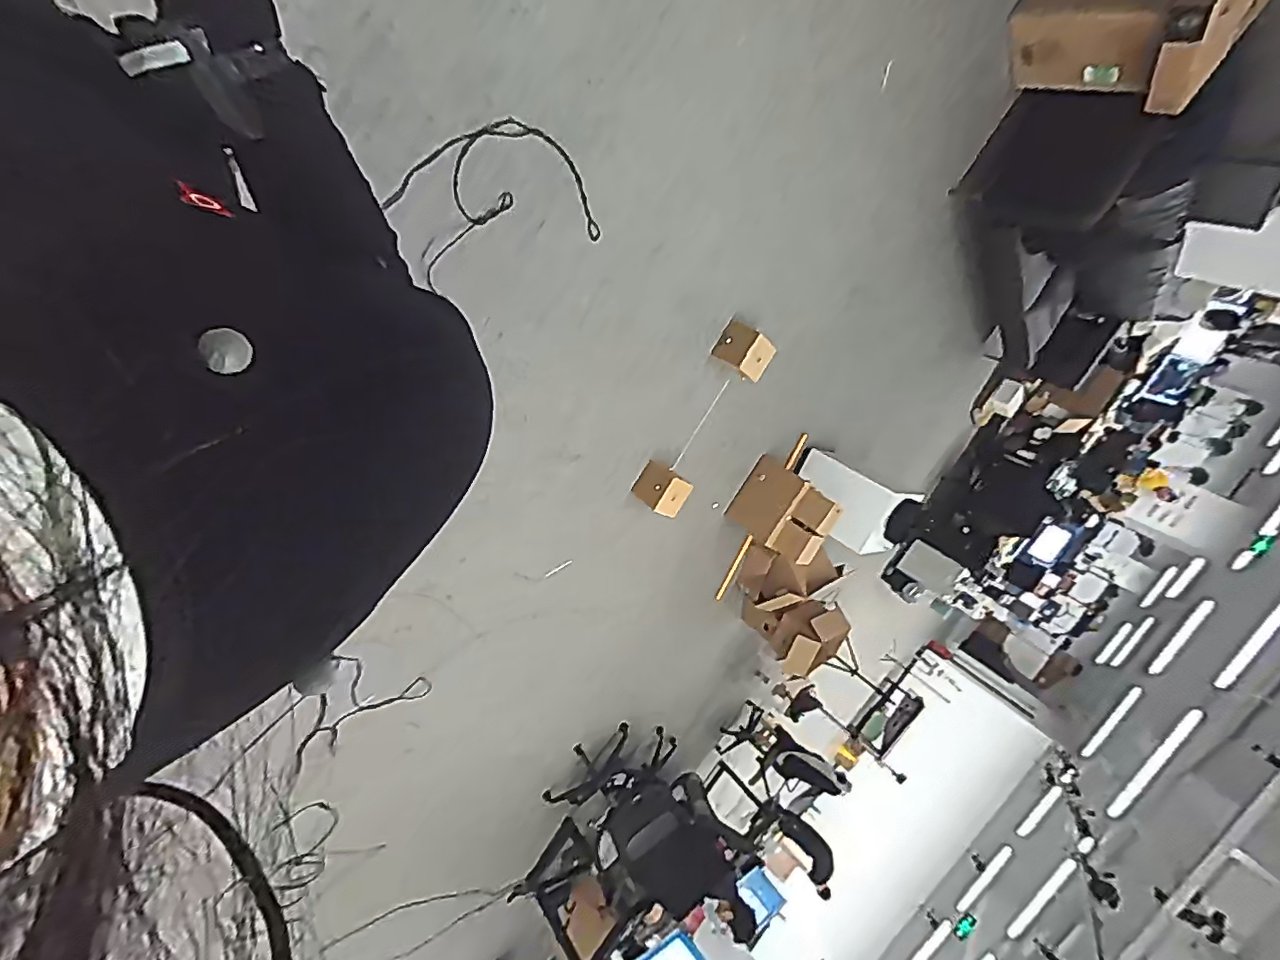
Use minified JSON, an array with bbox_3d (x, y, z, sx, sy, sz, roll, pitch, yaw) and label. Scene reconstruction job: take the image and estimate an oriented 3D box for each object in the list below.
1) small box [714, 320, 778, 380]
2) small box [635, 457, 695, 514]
[{"bbox_3d":[0.451,-0.555,2.302,0.179,0.176,0.168,21,103,-51],"label":"small box"},{"bbox_3d":[0.105,0.025,2.415,0.168,0.176,0.179,21,103,-51],"label":"small box"}]
